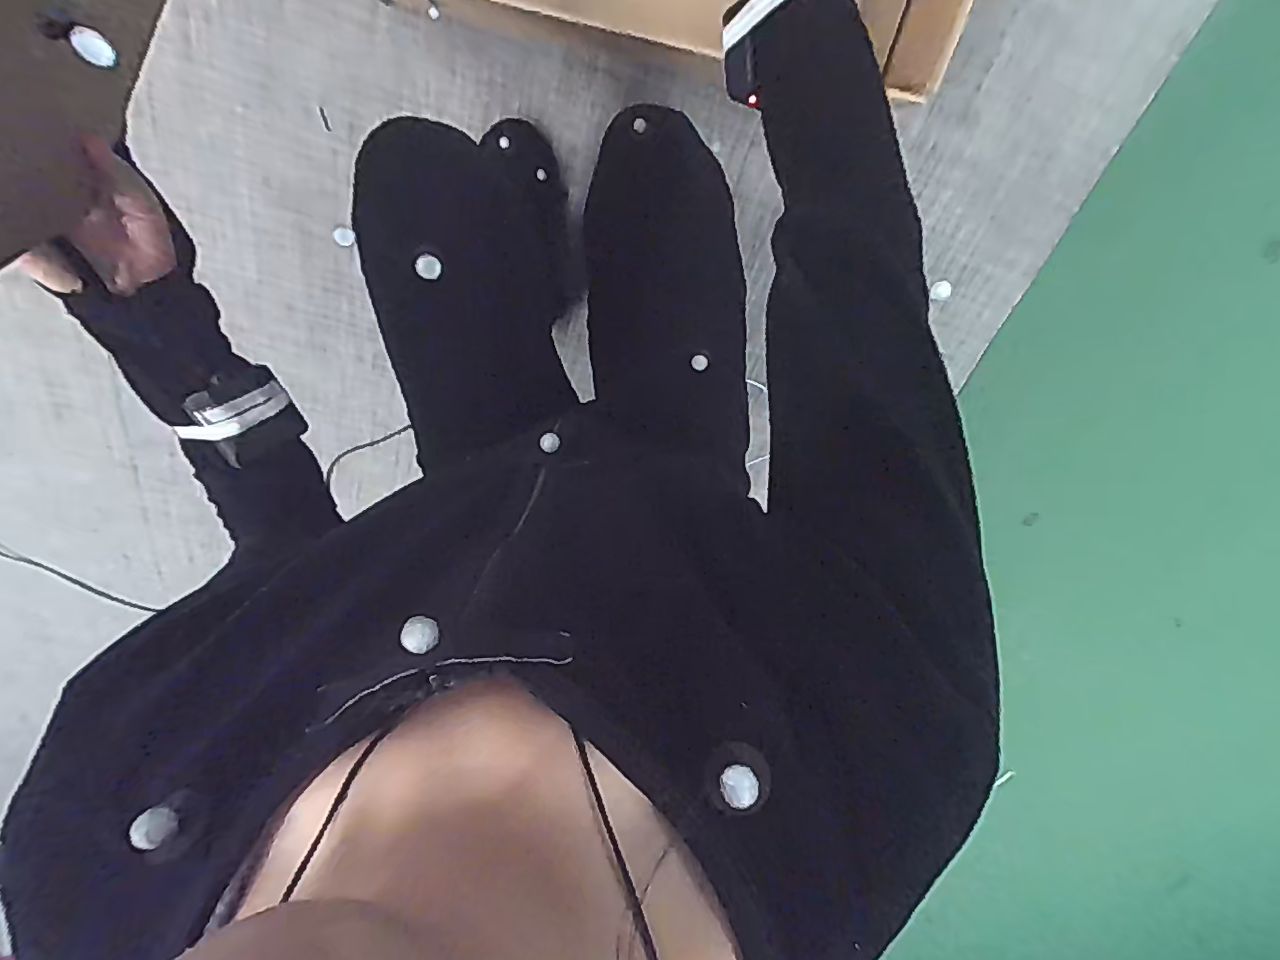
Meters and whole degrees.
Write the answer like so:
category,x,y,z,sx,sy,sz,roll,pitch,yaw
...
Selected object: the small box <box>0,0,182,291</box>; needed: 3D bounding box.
category,x,y,z,sx,sy,sz,roll,pitch,yaw
small box,-0.305,-0.180,0.186,0.179,0.176,0.168,-40,130,23
